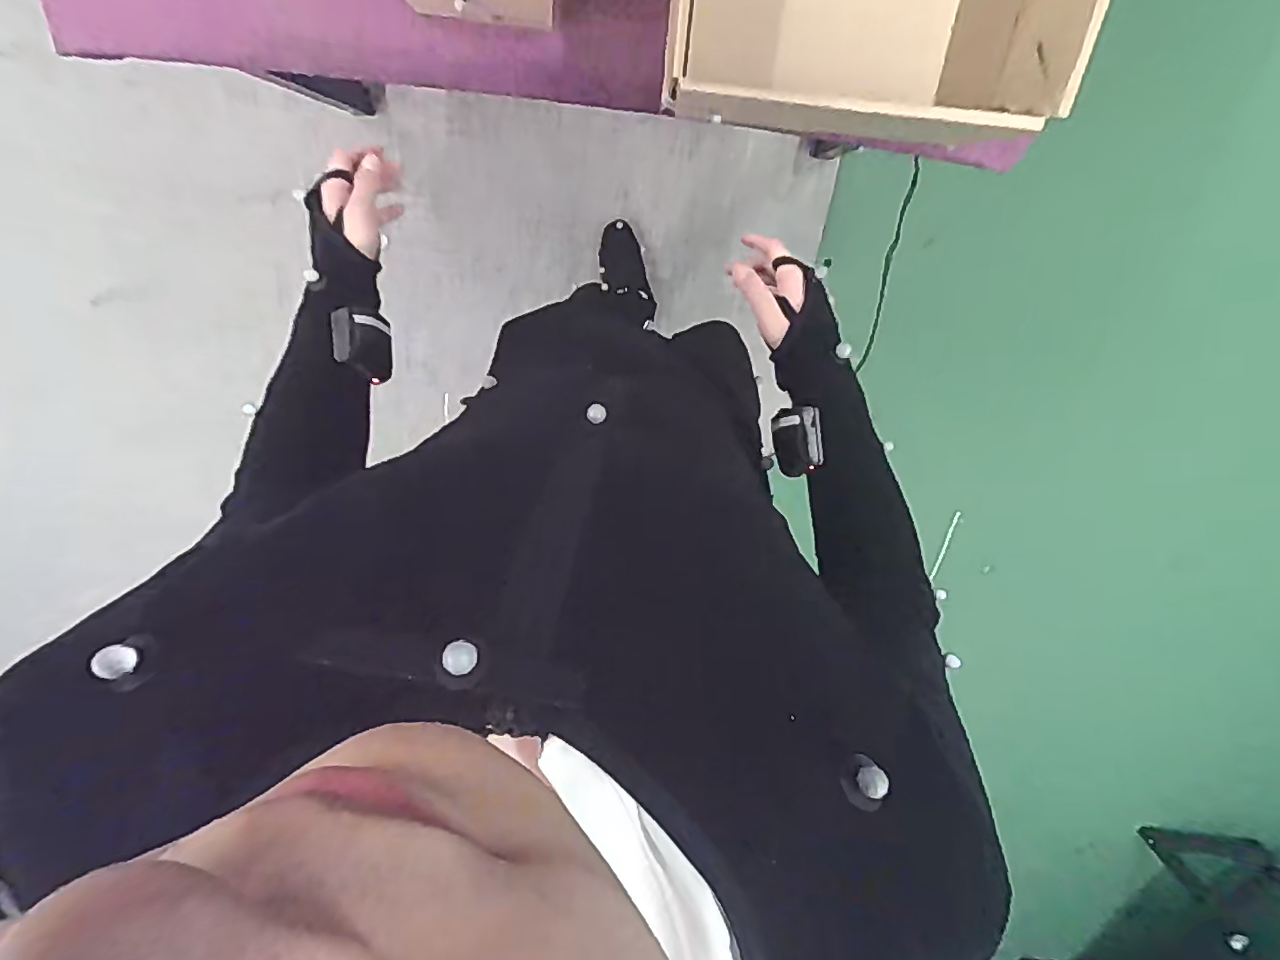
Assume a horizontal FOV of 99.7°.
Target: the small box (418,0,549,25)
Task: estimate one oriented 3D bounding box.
[{"bbox_3d":[-0.181,-0.599,0.545,0.168,0.176,0.179,6,115,-3],"label":"small box"}]
